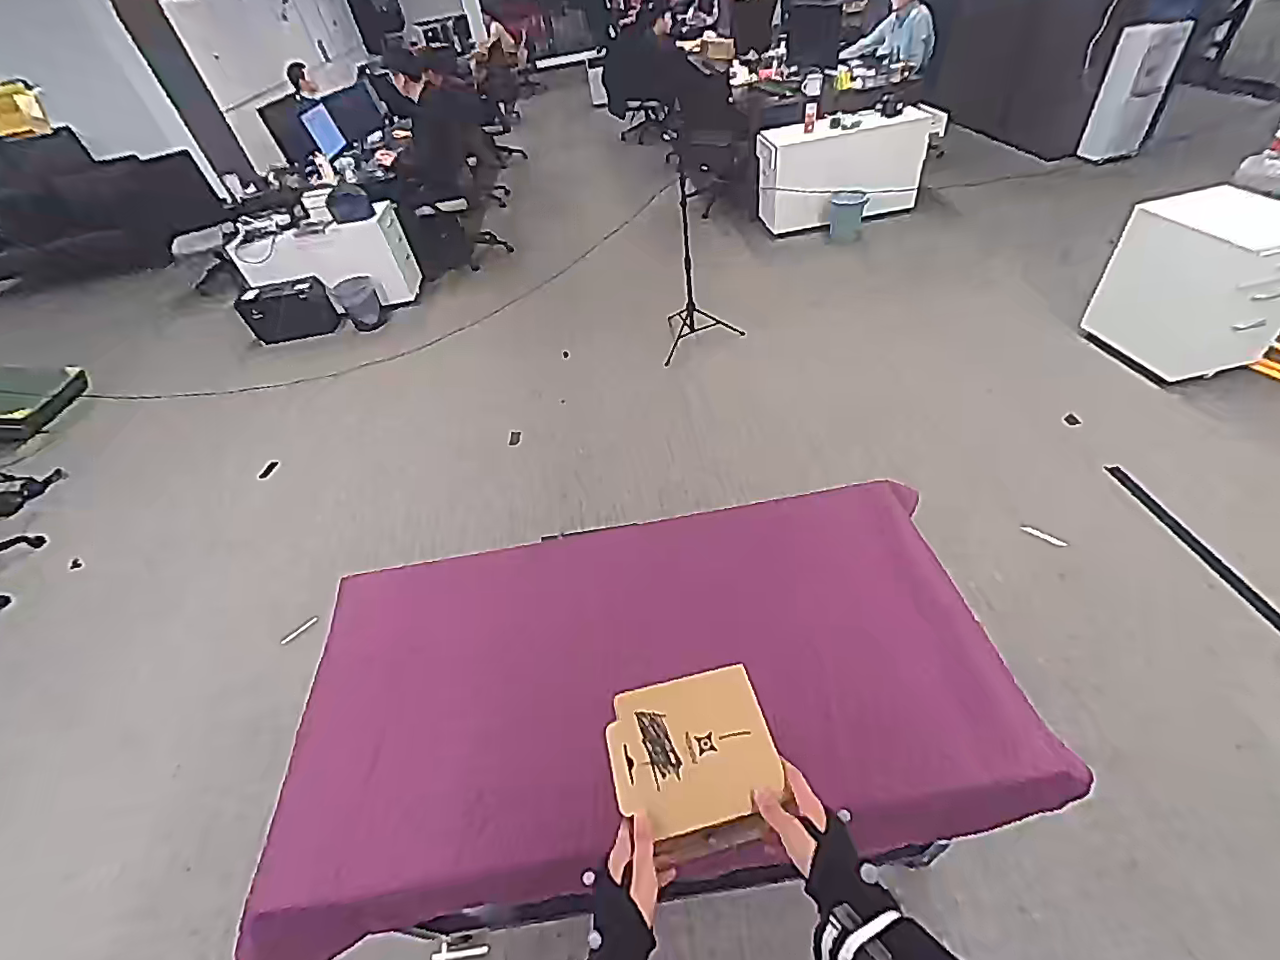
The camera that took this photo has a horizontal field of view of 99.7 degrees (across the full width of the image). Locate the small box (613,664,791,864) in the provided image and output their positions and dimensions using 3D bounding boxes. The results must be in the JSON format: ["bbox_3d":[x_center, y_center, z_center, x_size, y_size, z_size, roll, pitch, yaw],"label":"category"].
[{"bbox_3d":[0.070,0.368,0.697,0.179,0.176,0.168,-11,47,-8],"label":"small box"}]
